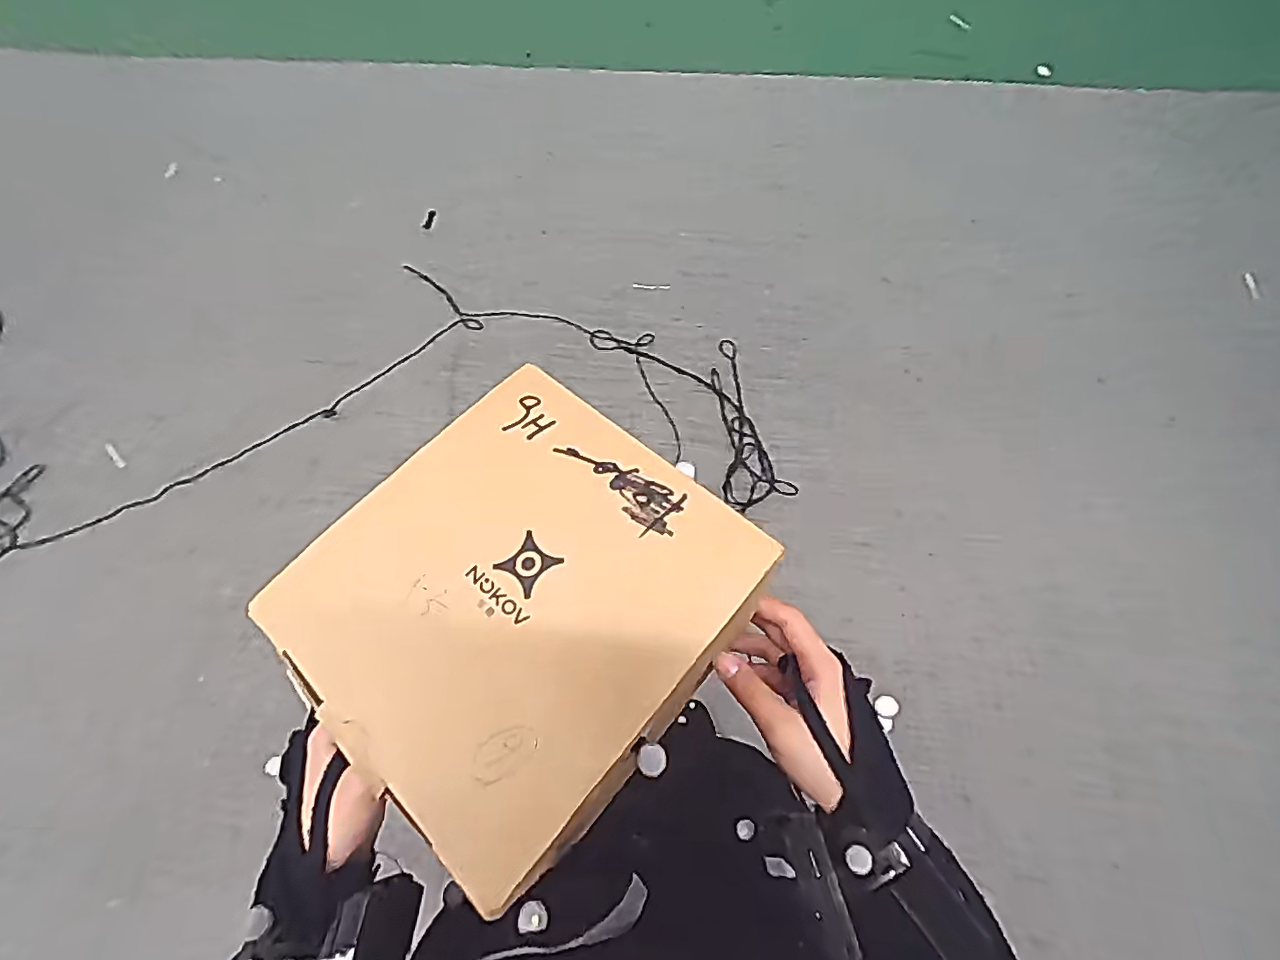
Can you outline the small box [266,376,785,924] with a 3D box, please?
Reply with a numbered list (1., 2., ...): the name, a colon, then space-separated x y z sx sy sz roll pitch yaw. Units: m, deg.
1. small box: -0.045 0.084 0.306 0.168 0.176 0.179 38 72 21
